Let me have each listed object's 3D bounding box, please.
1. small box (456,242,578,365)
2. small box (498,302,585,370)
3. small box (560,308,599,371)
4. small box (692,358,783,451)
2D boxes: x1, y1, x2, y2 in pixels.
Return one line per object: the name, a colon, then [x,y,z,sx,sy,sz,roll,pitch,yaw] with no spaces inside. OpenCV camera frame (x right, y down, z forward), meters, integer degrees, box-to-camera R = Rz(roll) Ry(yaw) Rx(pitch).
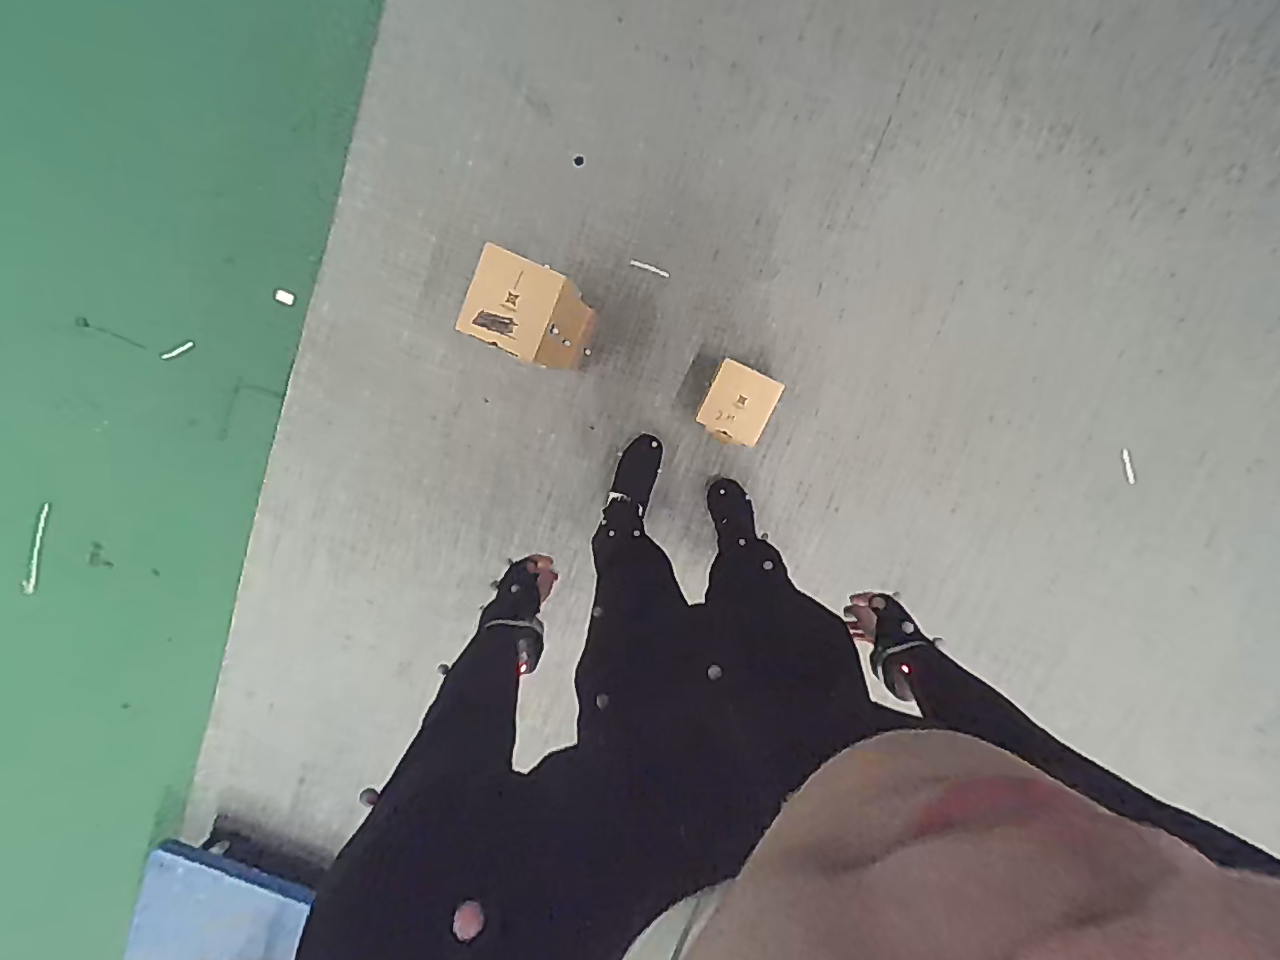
small box: [-0.240,-0.346,1.099,0.168,0.176,0.179,25,99,0]
small box: [-0.242,-0.368,1.263,0.168,0.176,0.179,26,101,-1]
small box: [-0.226,-0.394,1.423,0.179,0.176,0.168,26,100,-1]
small box: [0.246,-0.198,1.422,0.168,0.176,0.179,33,100,0]
